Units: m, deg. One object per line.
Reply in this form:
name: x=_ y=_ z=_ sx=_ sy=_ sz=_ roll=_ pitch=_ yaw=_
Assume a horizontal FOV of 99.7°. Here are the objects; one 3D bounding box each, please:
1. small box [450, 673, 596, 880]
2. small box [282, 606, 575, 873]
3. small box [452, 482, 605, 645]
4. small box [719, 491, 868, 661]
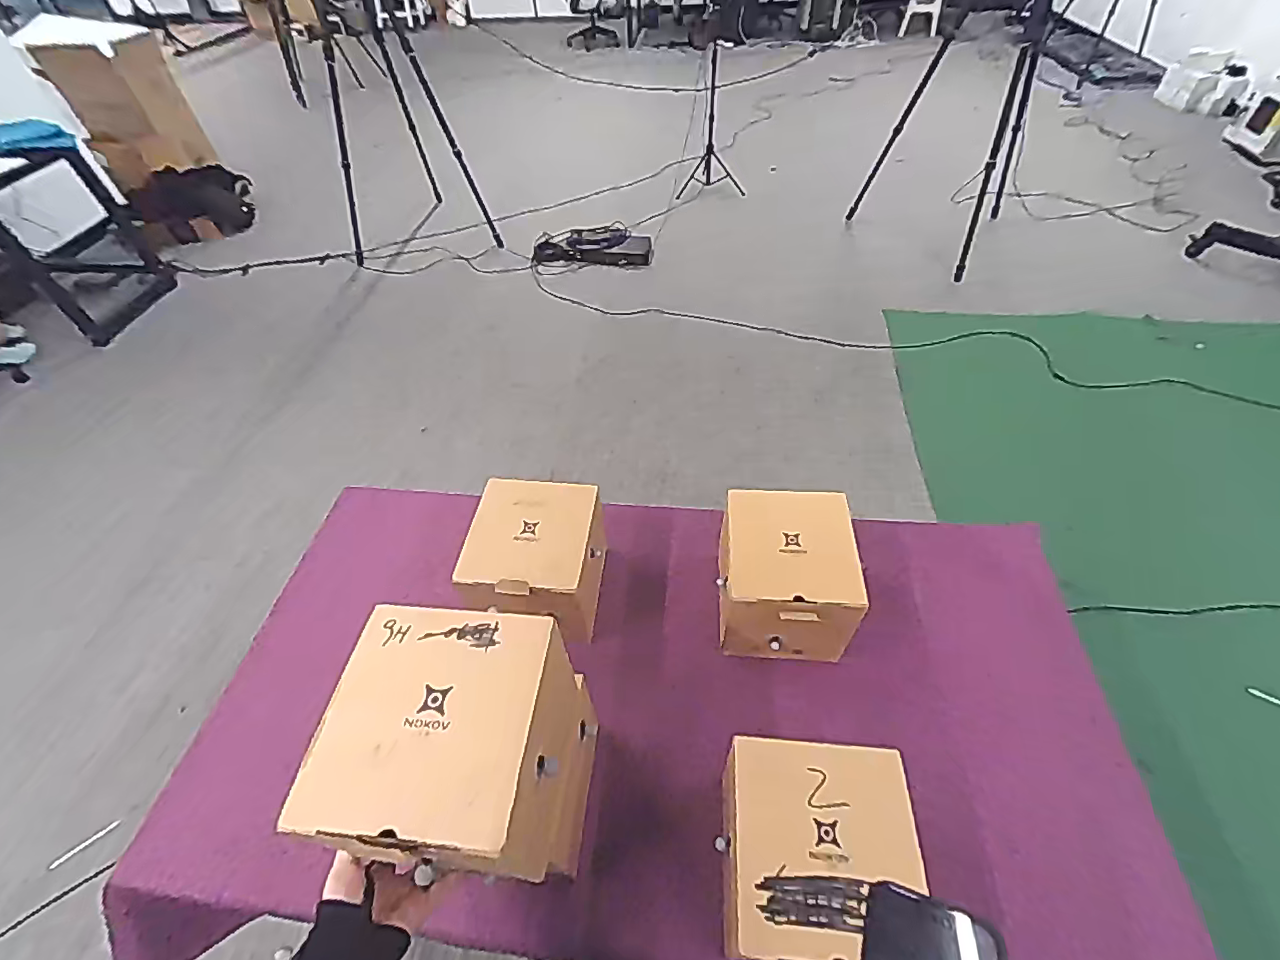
small box: x=-0.147 y=0.332 z=0.616 sx=0.168 sy=0.176 sz=0.179 roll=2 pitch=49 yaw=6
small box: x=-0.159 y=0.234 z=0.483 sx=0.168 sy=0.176 sz=0.179 roll=3 pitch=50 yaw=5
small box: x=-0.148 y=0.126 z=0.796 sx=0.168 sy=0.176 sz=0.179 roll=4 pitch=50 yaw=5
small box: x=0.201 y=0.136 z=0.766 sx=0.168 sy=0.176 sz=0.179 roll=1 pitch=50 yaw=5
